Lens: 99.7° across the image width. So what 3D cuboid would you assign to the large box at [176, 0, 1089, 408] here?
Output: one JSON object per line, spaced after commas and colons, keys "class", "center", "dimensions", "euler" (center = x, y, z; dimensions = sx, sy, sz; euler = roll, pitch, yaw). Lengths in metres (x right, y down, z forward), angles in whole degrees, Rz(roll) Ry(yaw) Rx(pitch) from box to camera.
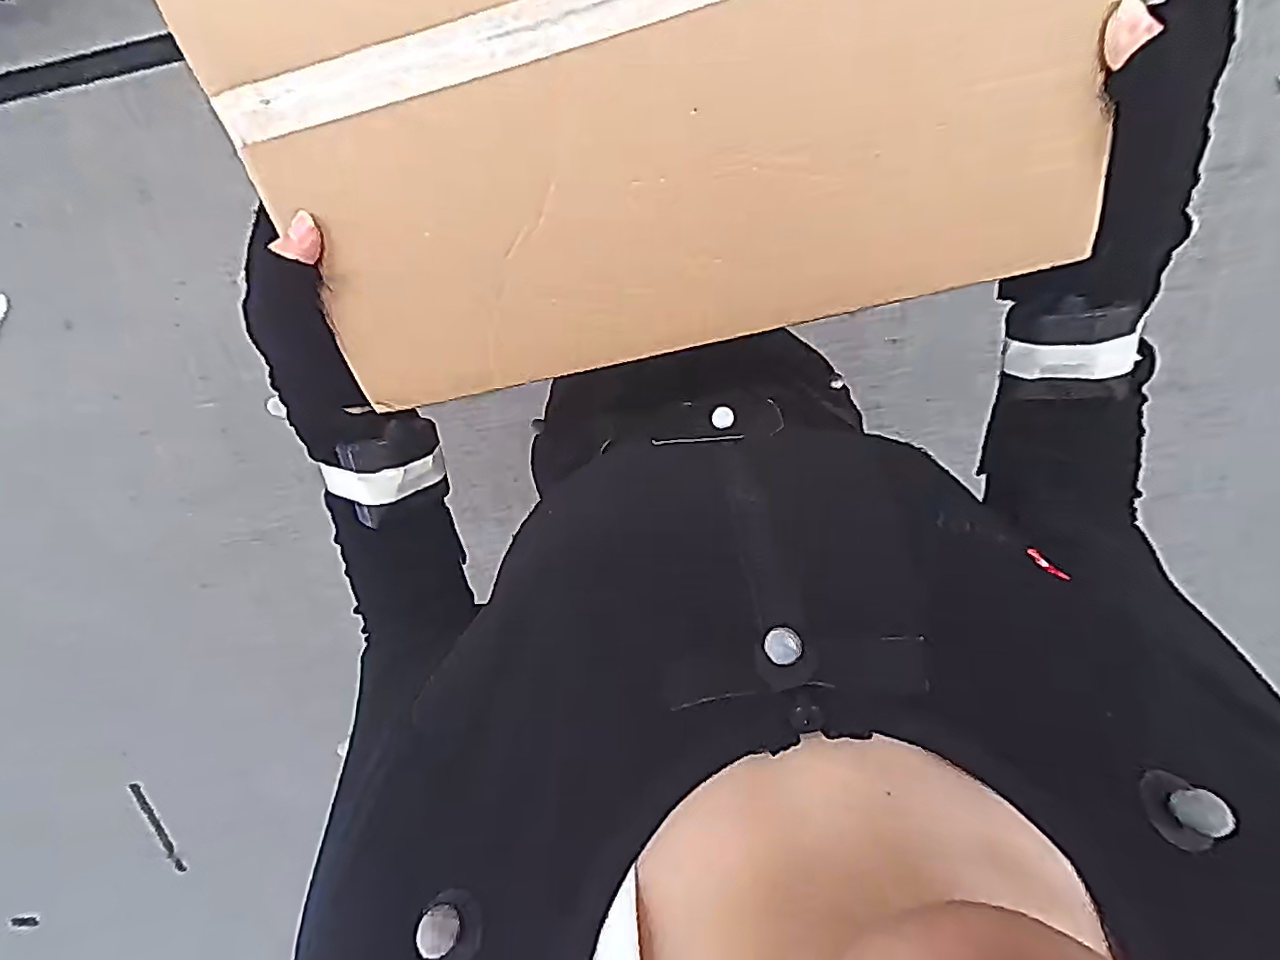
{"class": "large box", "center": [0.000, -0.288, 0.369], "dimensions": [0.408, 0.320, 0.320], "euler": [-11, 119, 8]}
